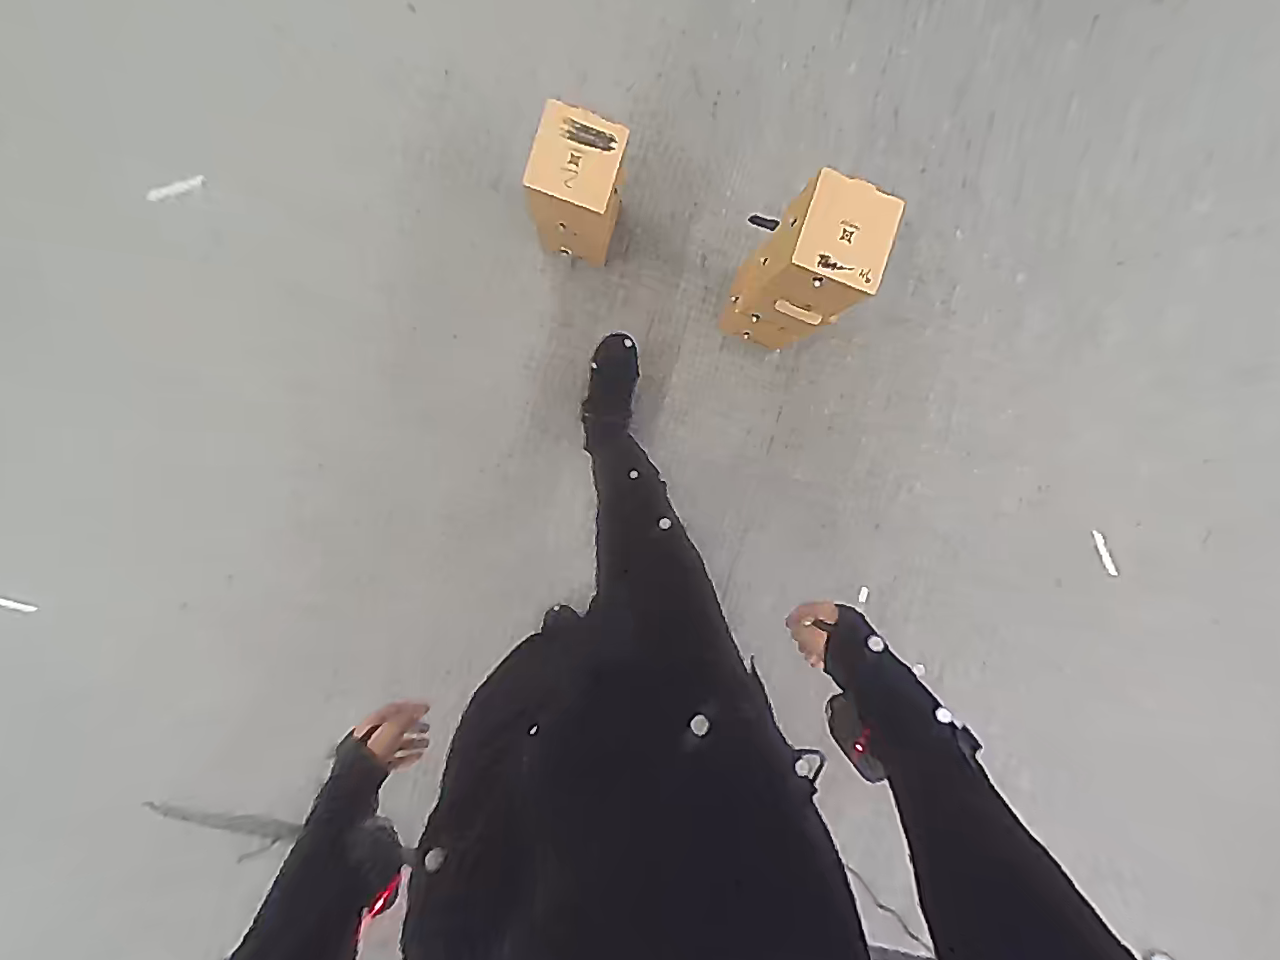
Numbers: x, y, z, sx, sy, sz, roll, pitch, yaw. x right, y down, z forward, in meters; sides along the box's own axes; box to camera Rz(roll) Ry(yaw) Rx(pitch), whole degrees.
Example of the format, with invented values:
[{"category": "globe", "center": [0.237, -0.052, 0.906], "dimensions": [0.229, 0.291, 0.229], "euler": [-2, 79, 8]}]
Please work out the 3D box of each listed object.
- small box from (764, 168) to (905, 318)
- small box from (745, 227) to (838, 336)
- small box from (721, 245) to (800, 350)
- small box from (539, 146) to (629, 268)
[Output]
[{"category": "small box", "center": [0.353, -0.432, 1.015], "dimensions": [0.168, 0.176, 0.179], "euler": [19, 90, -8]}, {"category": "small box", "center": [0.345, -0.434, 1.180], "dimensions": [0.168, 0.176, 0.179], "euler": [19, 90, -8]}, {"category": "small box", "center": [0.318, -0.444, 1.342], "dimensions": [0.168, 0.176, 0.179], "euler": [19, 91, -8]}, {"category": "small box", "center": [-0.133, -0.634, 1.276], "dimensions": [0.168, 0.176, 0.179], "euler": [15, 90, -7]}]
